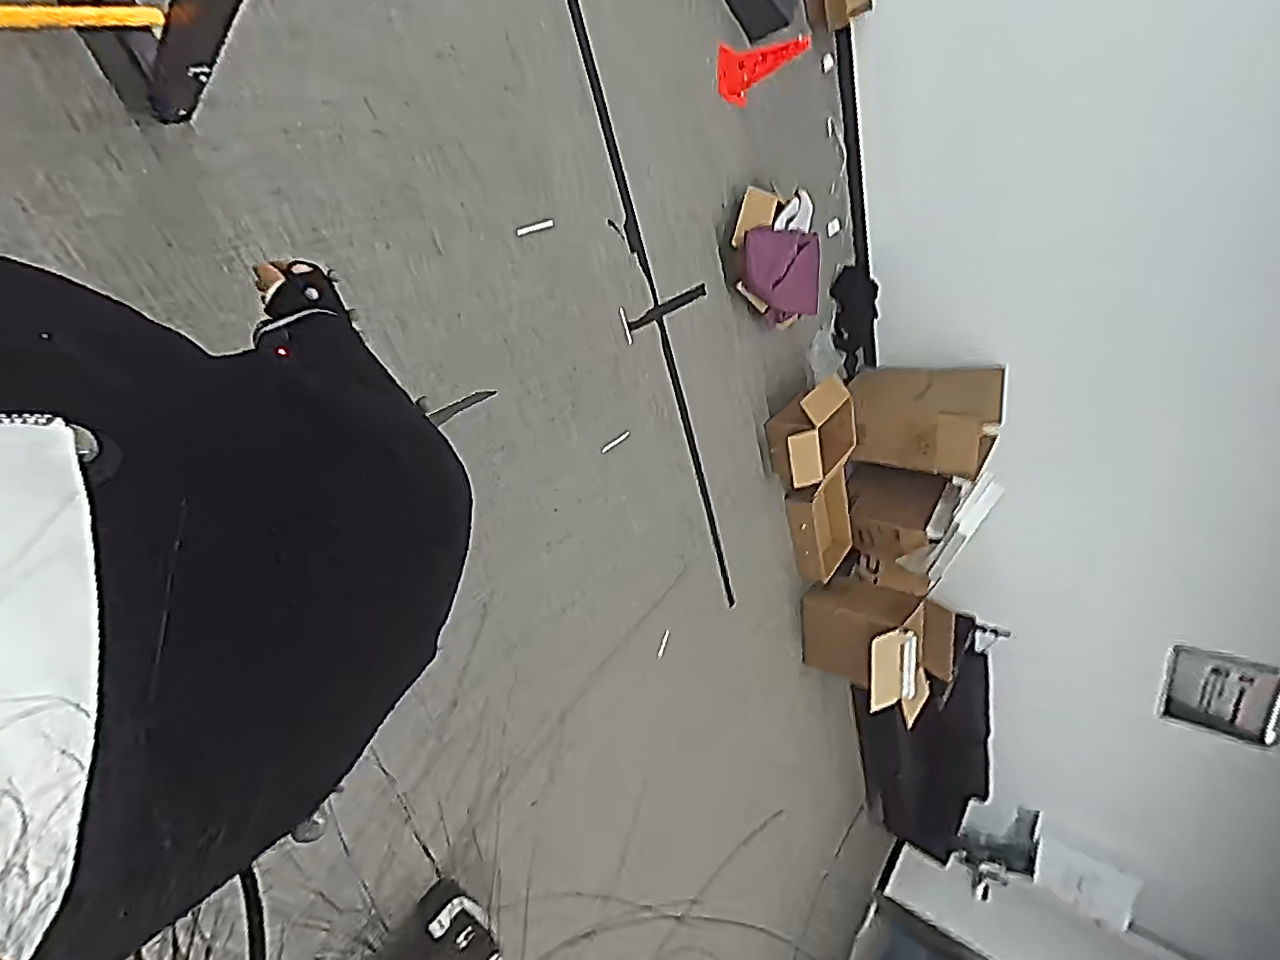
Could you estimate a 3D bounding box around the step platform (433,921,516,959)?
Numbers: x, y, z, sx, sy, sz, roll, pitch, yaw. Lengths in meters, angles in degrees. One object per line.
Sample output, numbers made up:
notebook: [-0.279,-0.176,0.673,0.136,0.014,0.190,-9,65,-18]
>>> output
step platform: [-0.625,1.618,1.464,0.684,0.204,0.286,-40,125,-34]
